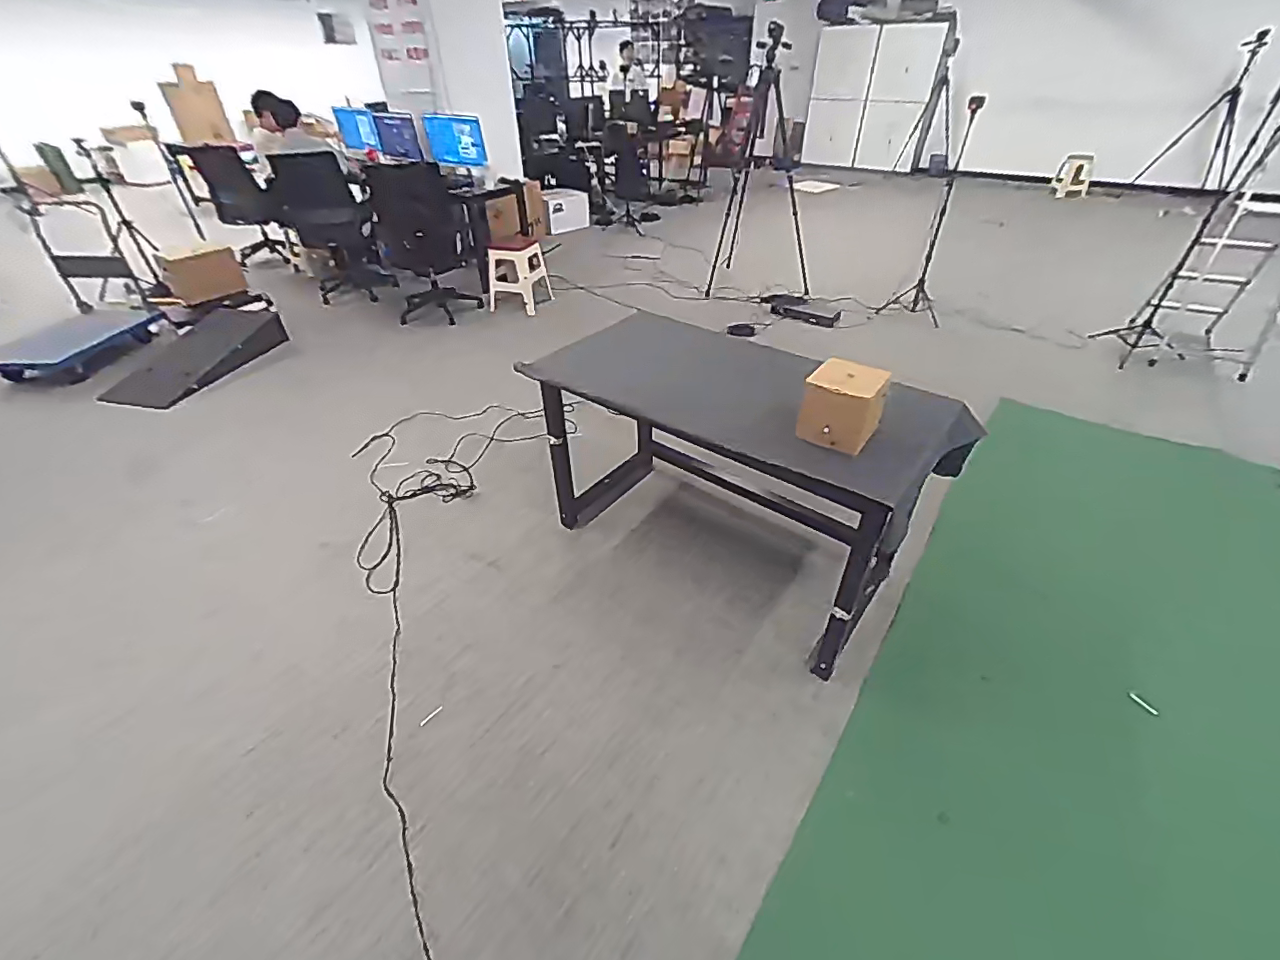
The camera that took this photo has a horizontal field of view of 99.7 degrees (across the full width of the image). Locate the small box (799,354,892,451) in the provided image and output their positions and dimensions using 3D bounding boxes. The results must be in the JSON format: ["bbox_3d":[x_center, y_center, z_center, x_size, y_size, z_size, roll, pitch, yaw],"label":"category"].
[{"bbox_3d":[0.526,-0.203,1.404,0.168,0.176,0.179,22,44,29],"label":"small box"}]
